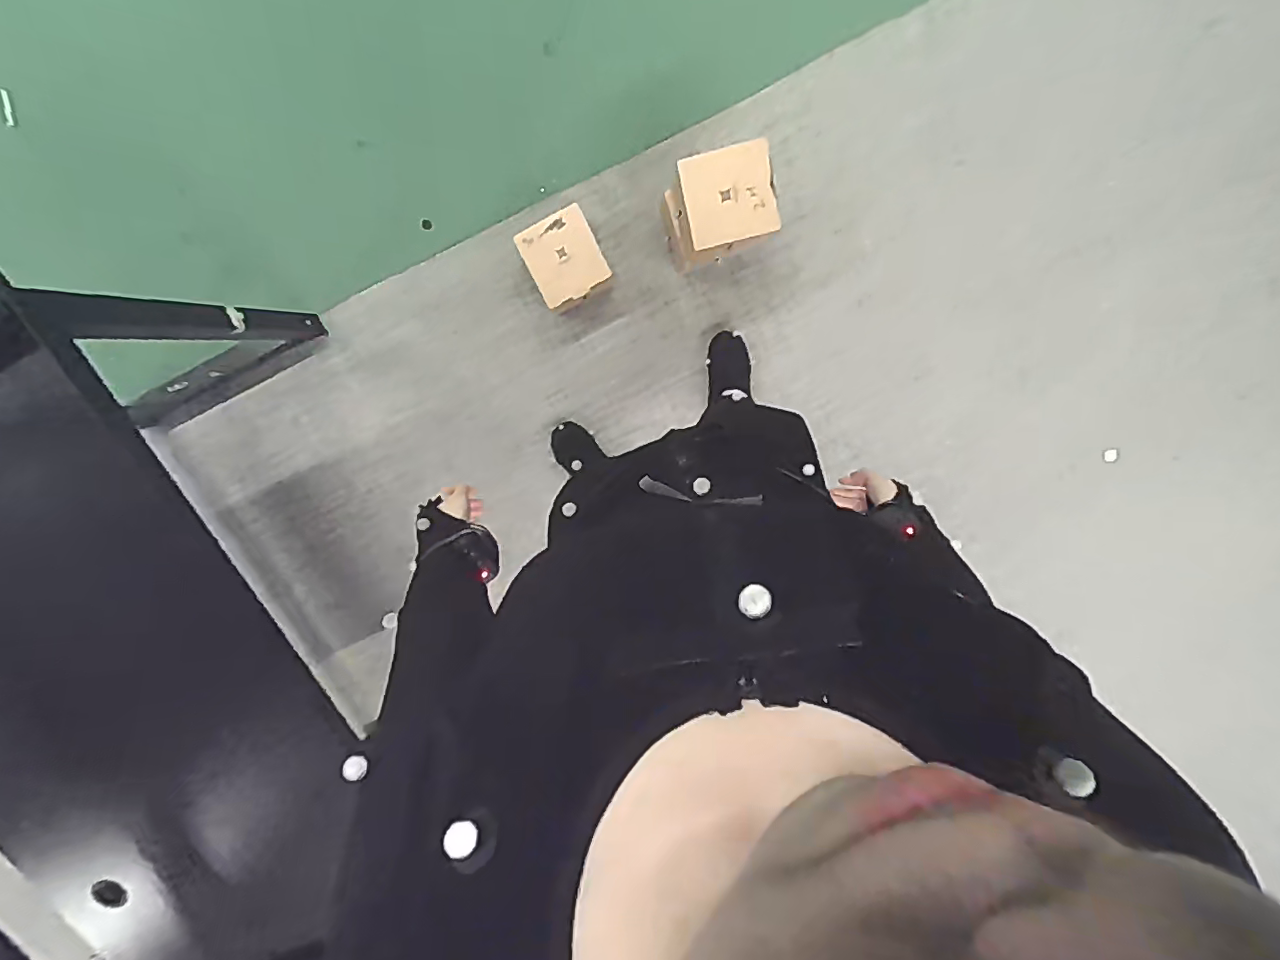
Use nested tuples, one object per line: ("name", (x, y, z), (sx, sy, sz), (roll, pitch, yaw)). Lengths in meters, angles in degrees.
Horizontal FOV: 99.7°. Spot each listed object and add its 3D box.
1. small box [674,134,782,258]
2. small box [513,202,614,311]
("small box", (0.169, -0.560, 1.091), (0.179, 0.176, 0.168), (-14, 105, 2))
("small box", (-0.168, -0.513, 1.268), (0.168, 0.176, 0.179), (-26, 104, 6))
